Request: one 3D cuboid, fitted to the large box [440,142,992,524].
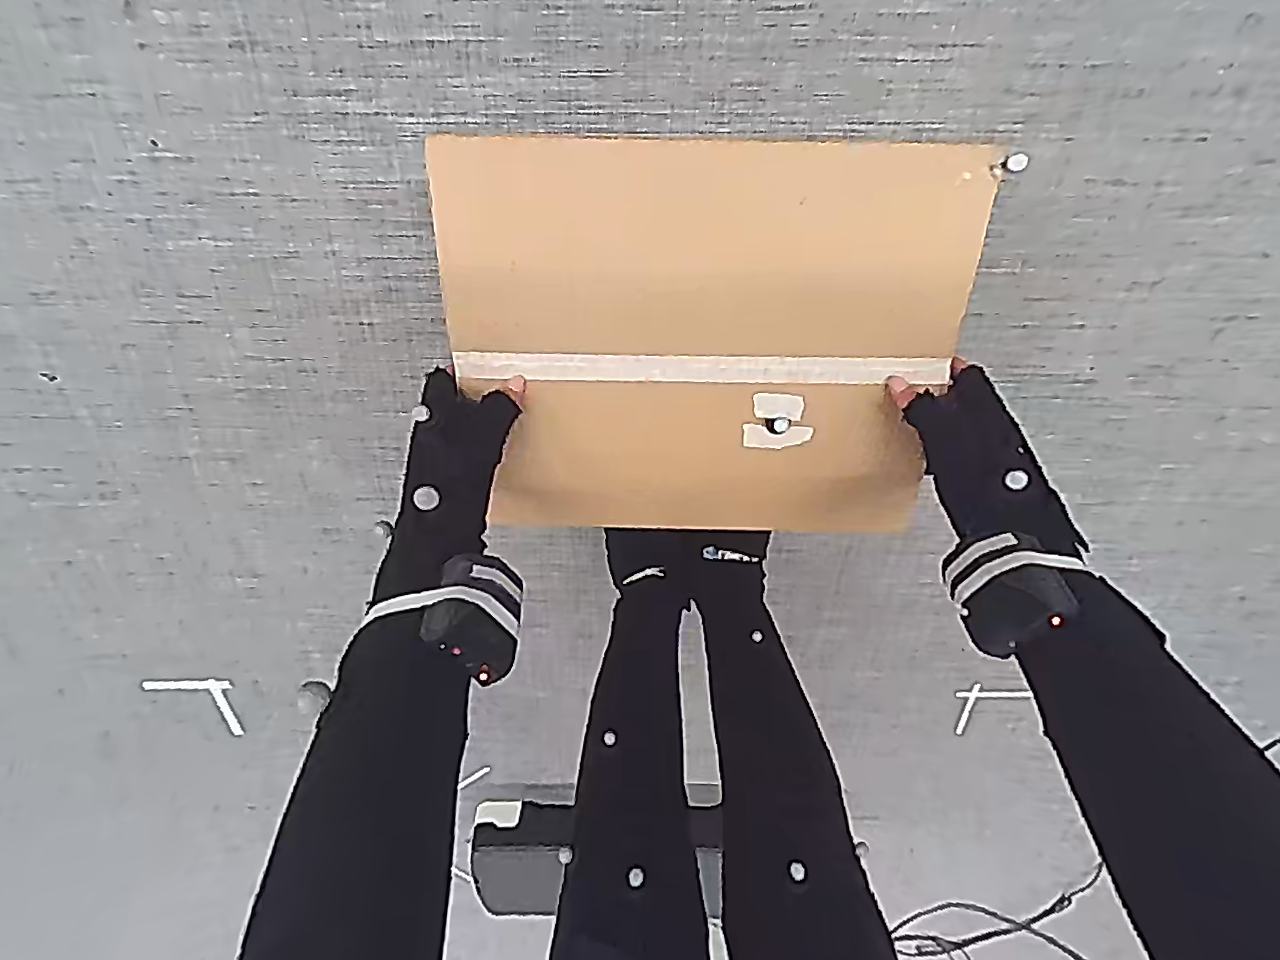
[{"bbox_3d":[0.053,-0.162,0.582,0.408,0.320,0.320,0,117,0],"label":"large box"}]
